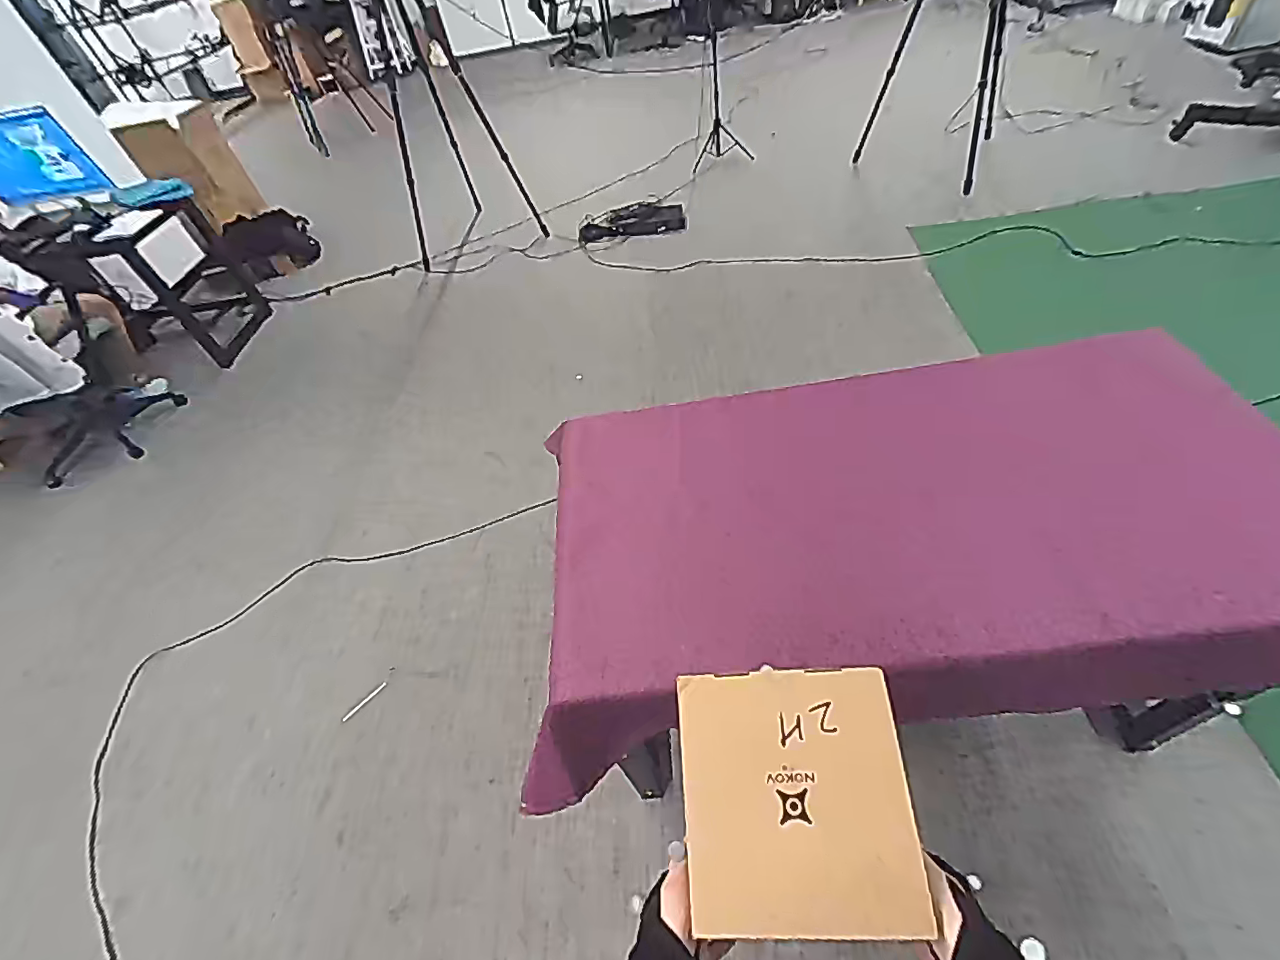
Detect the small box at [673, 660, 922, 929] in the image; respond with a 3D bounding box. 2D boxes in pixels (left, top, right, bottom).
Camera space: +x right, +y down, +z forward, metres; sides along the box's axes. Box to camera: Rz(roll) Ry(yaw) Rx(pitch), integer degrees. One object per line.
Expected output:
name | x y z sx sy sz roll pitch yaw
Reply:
small box | 0.122 0.262 0.480 0.168 0.176 0.179 -5 64 7
